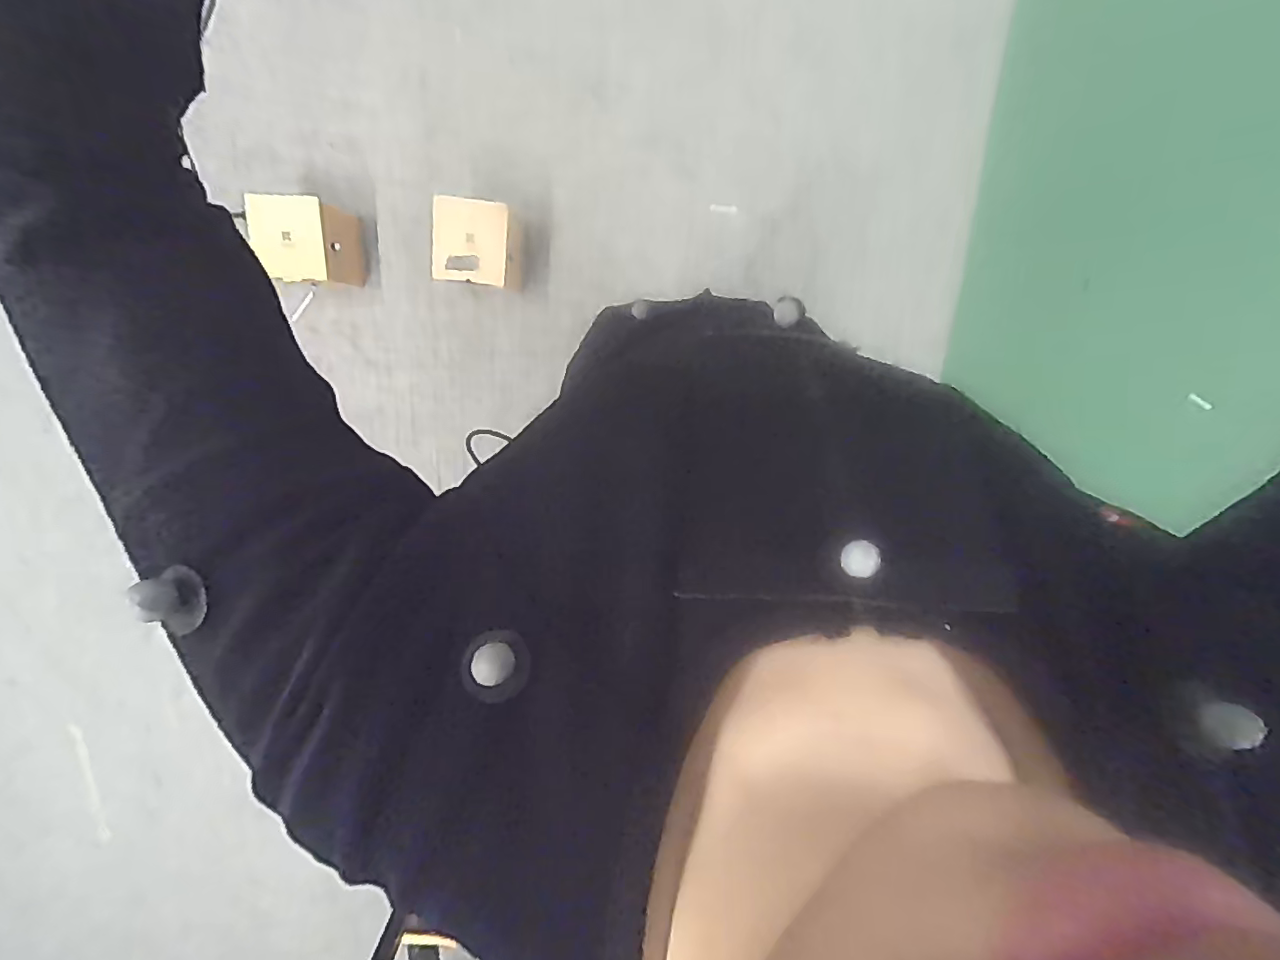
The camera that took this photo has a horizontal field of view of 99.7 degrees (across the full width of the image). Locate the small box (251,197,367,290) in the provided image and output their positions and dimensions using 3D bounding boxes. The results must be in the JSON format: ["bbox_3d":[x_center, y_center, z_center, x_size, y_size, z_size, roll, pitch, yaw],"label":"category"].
[{"bbox_3d":[-0.771,-0.551,1.277,0.168,0.176,0.179,2,105,1],"label":"small box"}]

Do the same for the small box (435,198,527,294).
[{"bbox_3d":[-0.368,-0.540,1.272,0.168,0.176,0.179,7,104,-1],"label":"small box"}]
